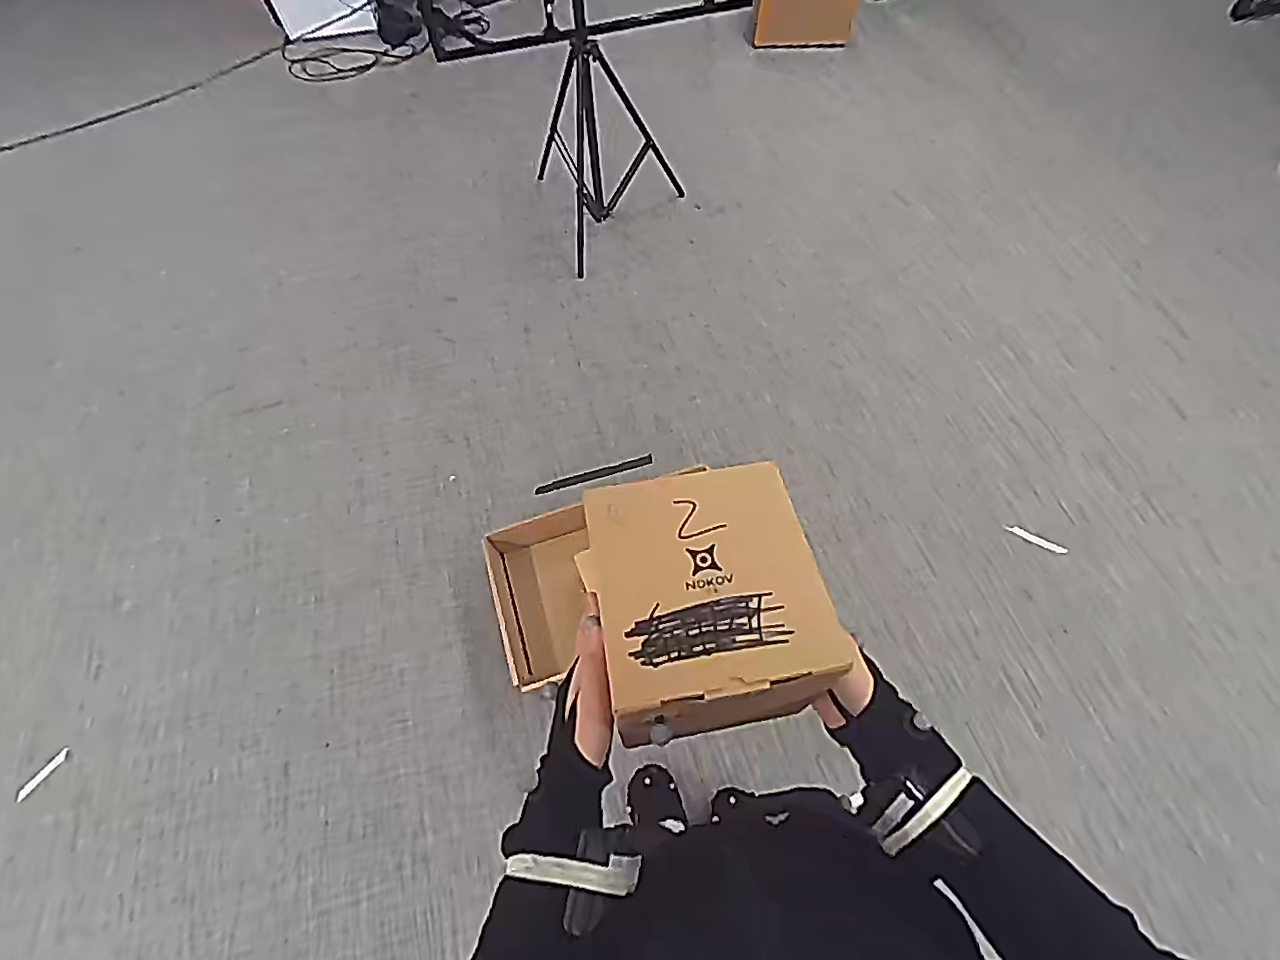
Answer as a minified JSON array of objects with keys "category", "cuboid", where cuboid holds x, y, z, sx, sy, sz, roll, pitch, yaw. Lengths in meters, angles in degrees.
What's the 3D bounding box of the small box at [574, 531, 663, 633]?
[{"category":"small box","cuboid":[-0.052,0.260,1.353,0.168,0.176,0.179,-23,66,-9]}]
